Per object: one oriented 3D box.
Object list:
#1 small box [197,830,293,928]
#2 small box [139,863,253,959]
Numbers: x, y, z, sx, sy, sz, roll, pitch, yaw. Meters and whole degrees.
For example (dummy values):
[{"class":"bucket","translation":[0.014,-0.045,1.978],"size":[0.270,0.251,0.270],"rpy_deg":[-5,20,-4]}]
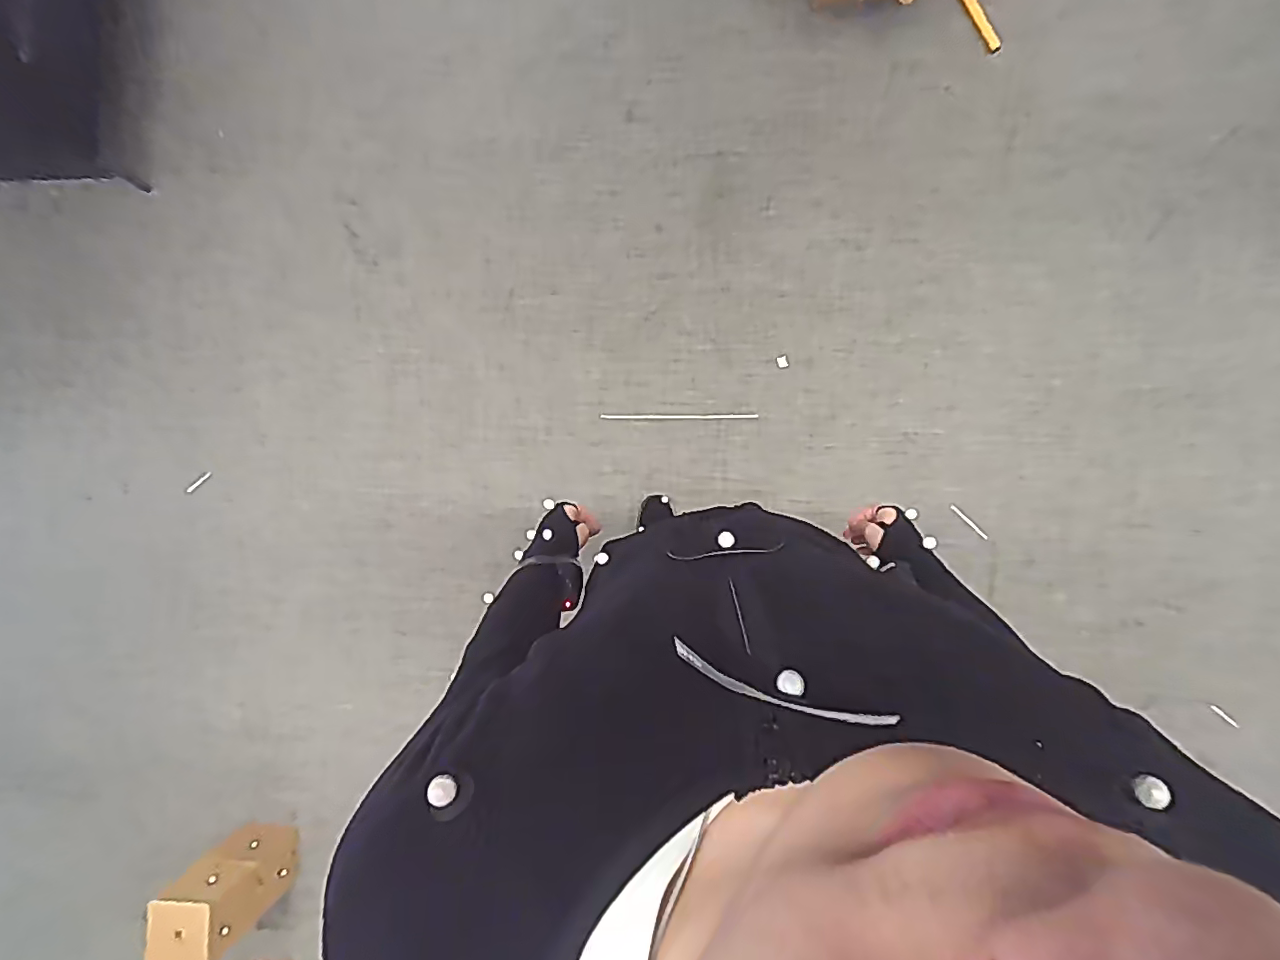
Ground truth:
[{"class":"small box","translation":[-1.155,1.161,1.584],"size":[0.179,0.176,0.168],"rpy_deg":[2,86,3]},{"class":"small box","translation":[-1.158,1.149,1.422],"size":[0.168,0.176,0.179],"rpy_deg":[1,88,4]}]
